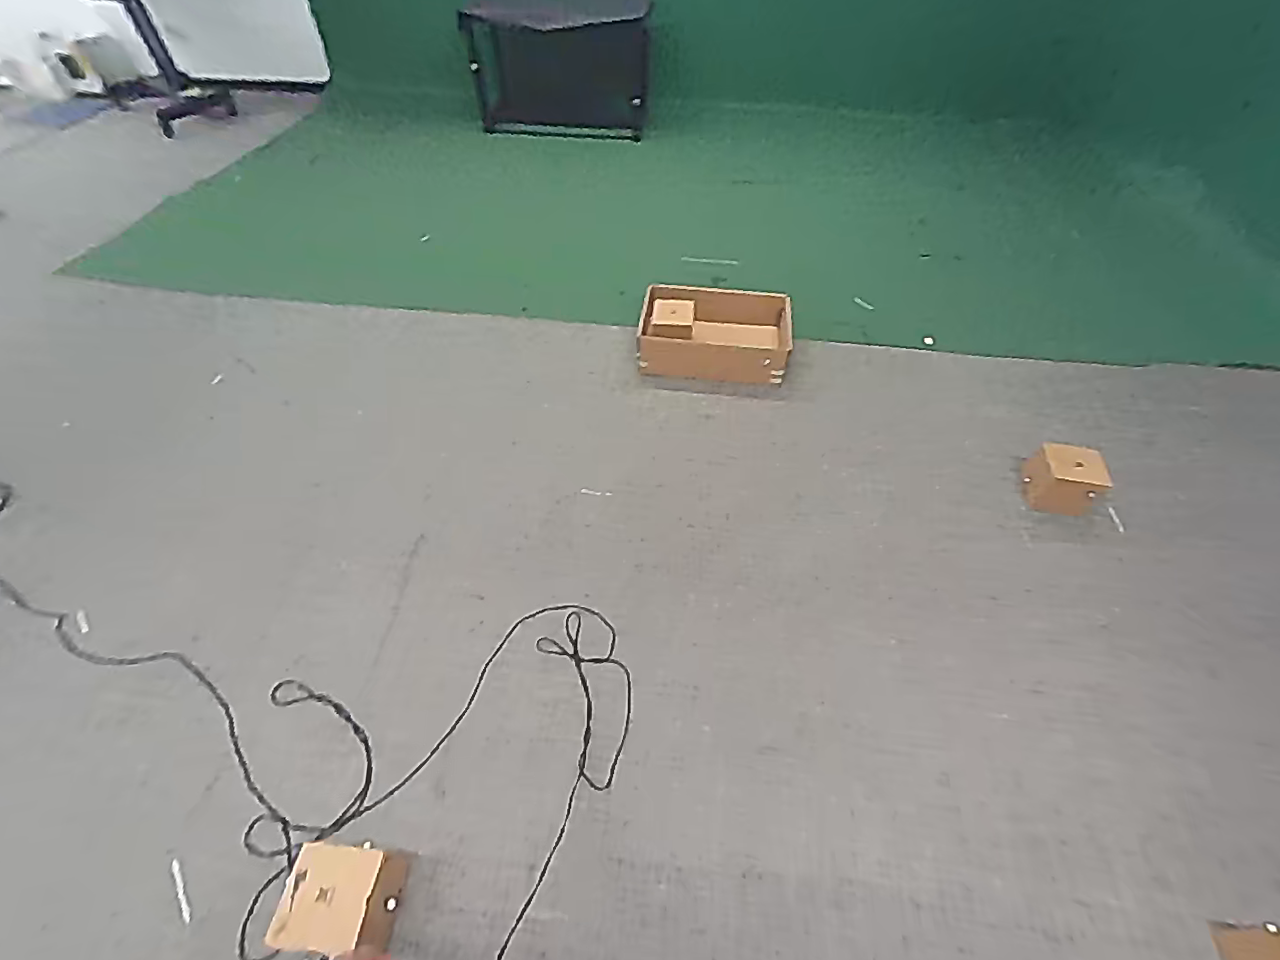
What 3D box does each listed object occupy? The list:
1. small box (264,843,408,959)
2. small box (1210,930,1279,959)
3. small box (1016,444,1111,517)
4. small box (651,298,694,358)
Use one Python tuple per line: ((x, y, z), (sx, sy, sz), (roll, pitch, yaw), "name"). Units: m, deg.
((-0.601, 0.856, 1.103), (0.179, 0.176, 0.168), (5, 50, 2), "small box")
((1.269, 0.980, 1.025), (0.168, 0.176, 0.179), (7, 50, 5), "small box")
((1.420, 0.004, 1.825), (0.179, 0.176, 0.168), (10, 51, 8), "small box")
((0.136, -0.641, 2.282), (0.168, 0.176, 0.179), (4, 52, 3), "small box")
